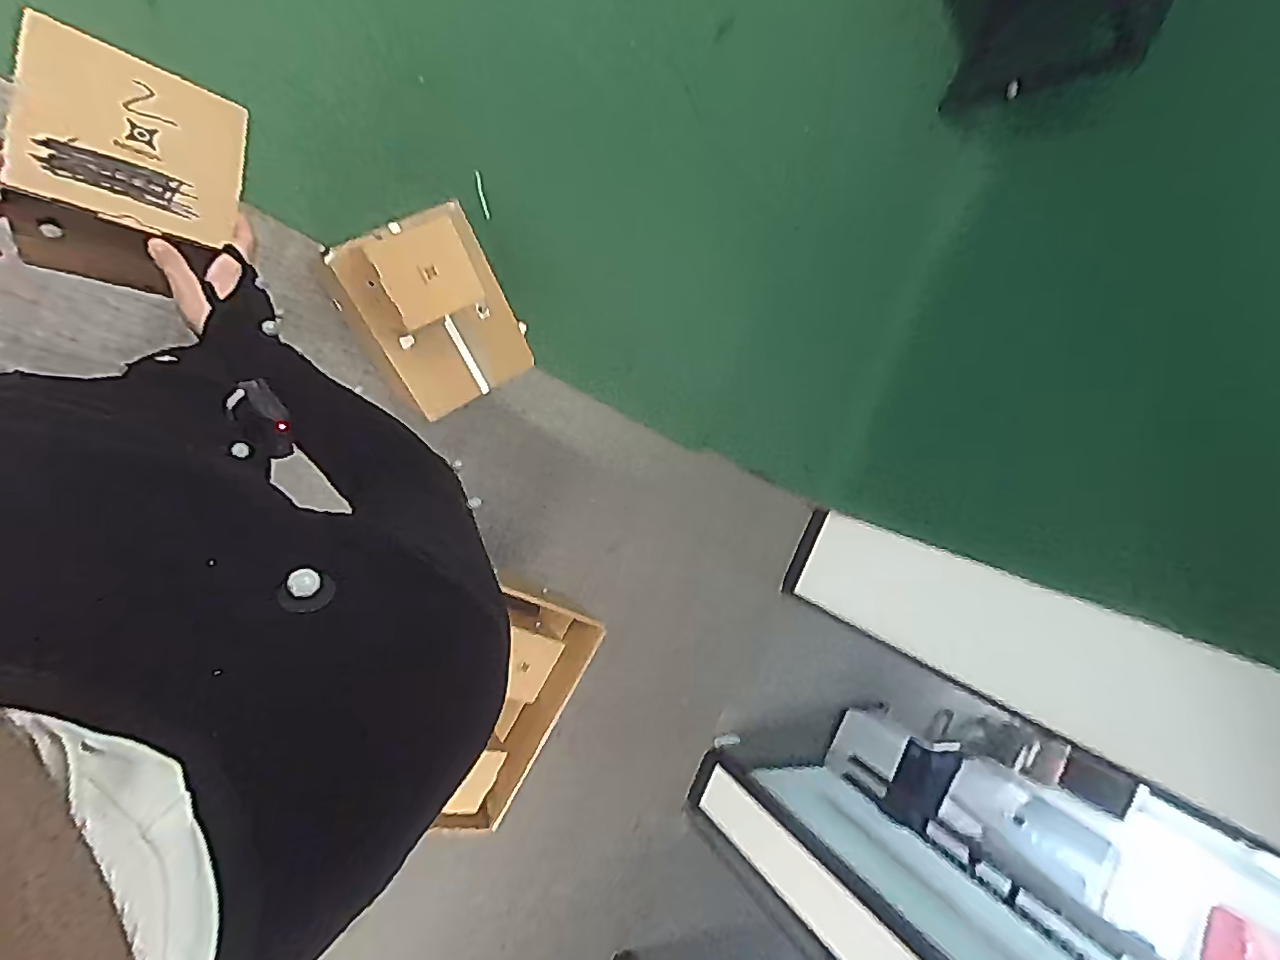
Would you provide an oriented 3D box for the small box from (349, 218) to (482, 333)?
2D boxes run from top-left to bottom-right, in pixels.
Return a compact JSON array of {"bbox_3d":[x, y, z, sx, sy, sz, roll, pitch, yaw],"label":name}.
[{"bbox_3d":[-0.461,-0.421,1.108,0.179,0.176,0.168,-35,125,-21],"label":"small box"}]
